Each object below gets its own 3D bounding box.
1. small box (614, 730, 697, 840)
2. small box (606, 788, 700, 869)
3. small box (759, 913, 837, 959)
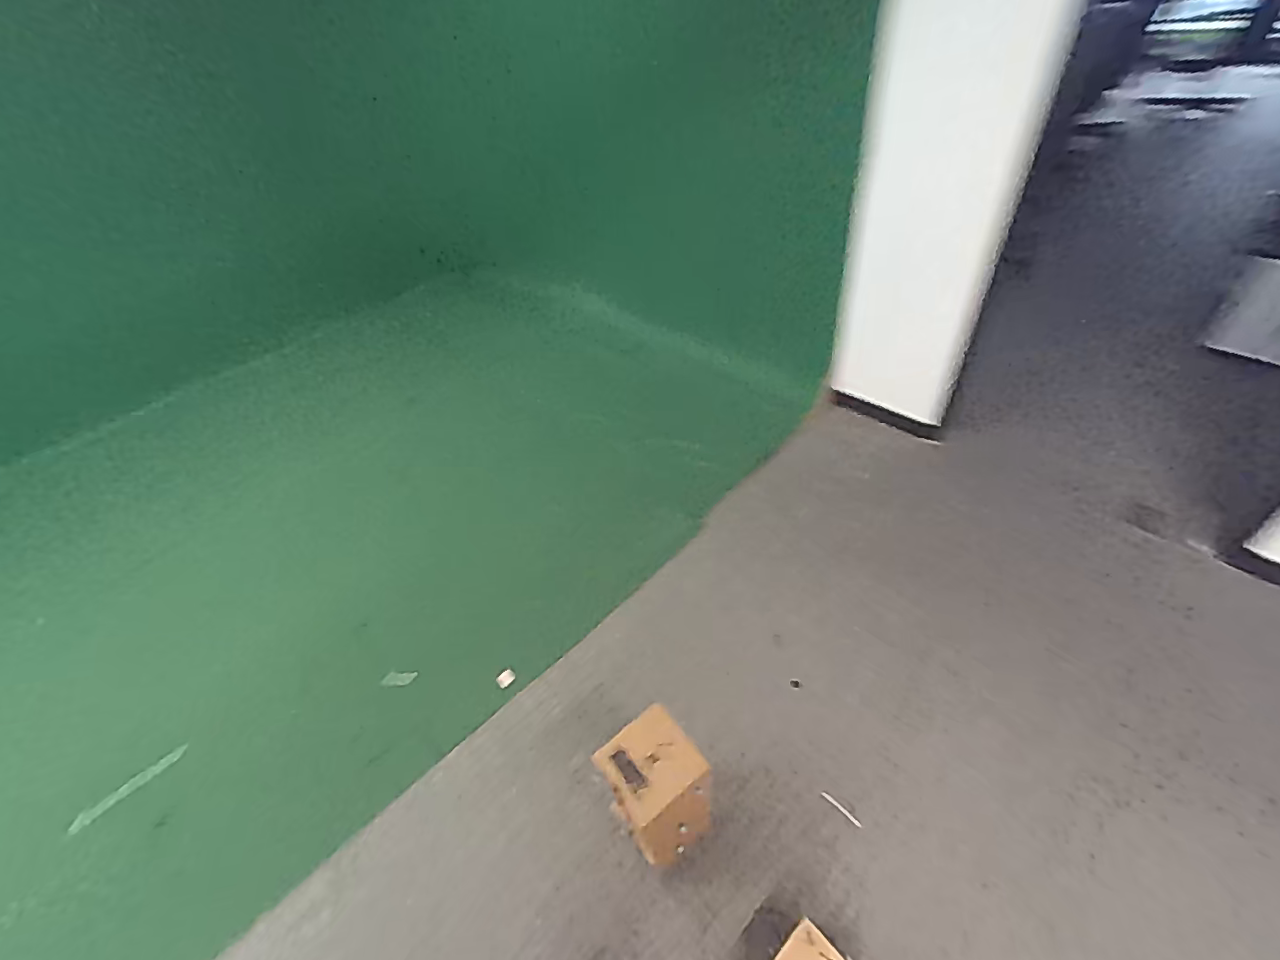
[{"bbox_3d":[0.036,0.711,1.256,0.168,0.176,0.179,-10,45,2],"label":"small box"},{"bbox_3d":[0.040,0.830,1.356,0.179,0.176,0.168,-31,50,-22],"label":"small box"},{"bbox_3d":[0.325,1.042,1.102,0.179,0.176,0.168,-35,51,-22],"label":"small box"}]
